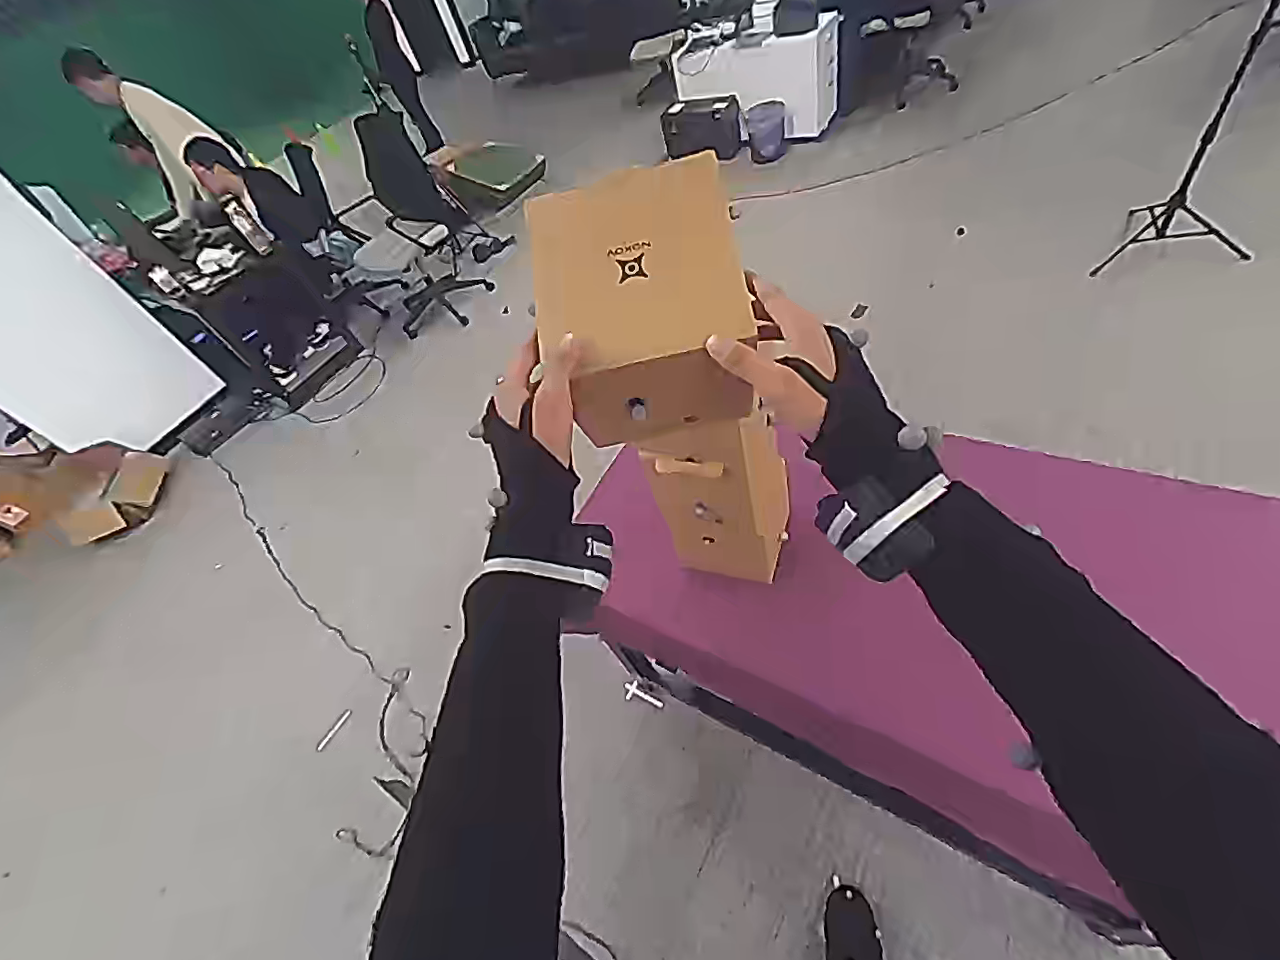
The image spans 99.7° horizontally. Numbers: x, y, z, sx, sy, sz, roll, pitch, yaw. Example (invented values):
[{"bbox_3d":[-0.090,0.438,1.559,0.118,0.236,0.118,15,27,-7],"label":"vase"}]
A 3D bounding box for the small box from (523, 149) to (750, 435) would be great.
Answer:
[{"bbox_3d":[0.006,-0.152,0.502,0.168,0.176,0.179,-11,73,8],"label":"small box"}]

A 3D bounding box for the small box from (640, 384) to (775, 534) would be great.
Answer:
[{"bbox_3d":[0.119,-0.038,0.875,0.168,0.176,0.179,7,54,24],"label":"small box"}]

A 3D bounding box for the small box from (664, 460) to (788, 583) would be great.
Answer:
[{"bbox_3d":[0.166,0.069,0.991,0.179,0.176,0.168,8,55,24],"label":"small box"}]
